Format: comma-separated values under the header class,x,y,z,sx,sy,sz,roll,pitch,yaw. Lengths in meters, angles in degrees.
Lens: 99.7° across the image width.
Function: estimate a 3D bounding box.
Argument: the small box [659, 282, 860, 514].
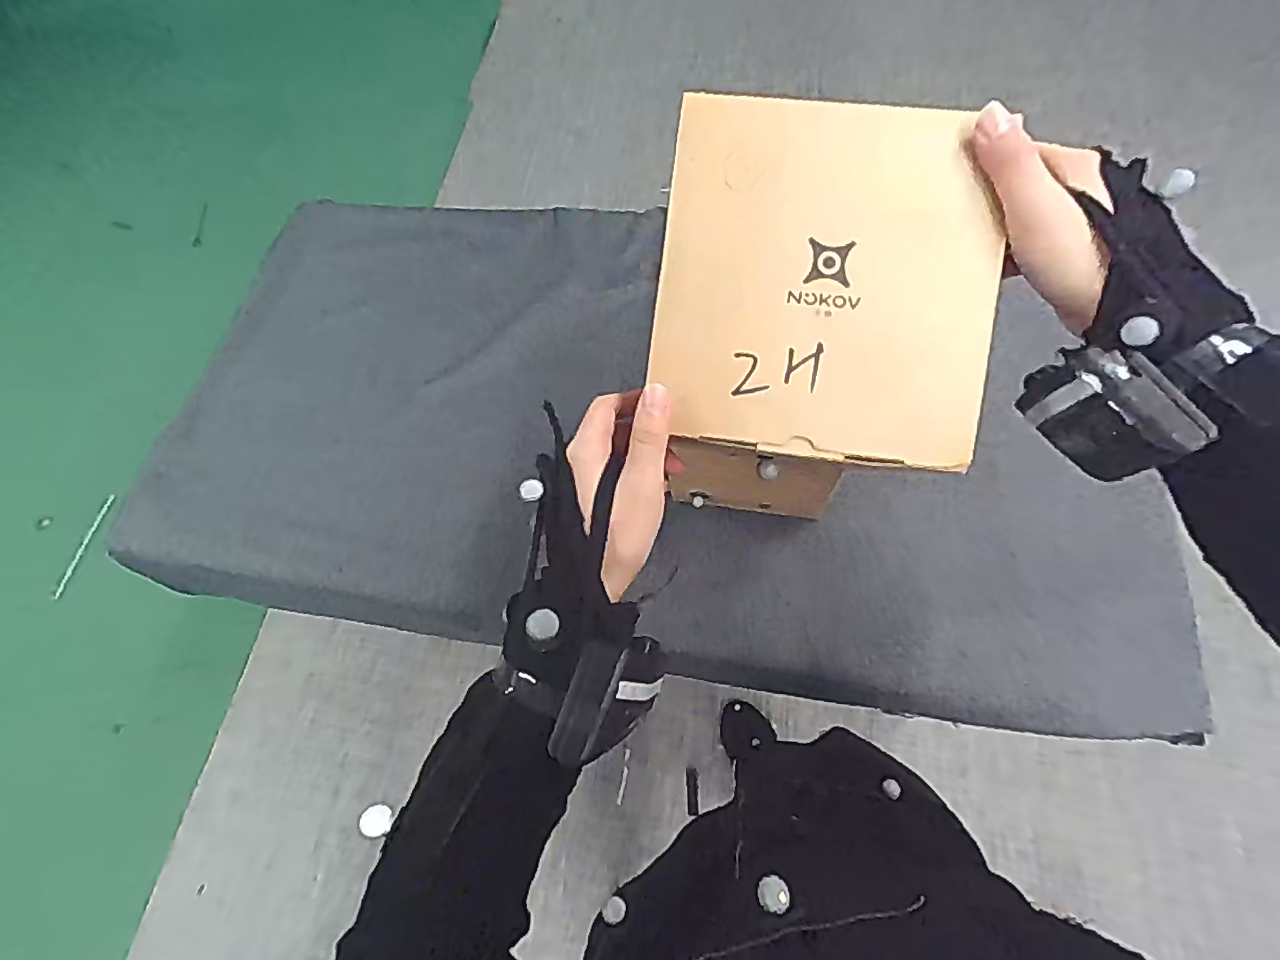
class,x,y,z,sx,sy,sz,roll,pitch,yaw
small box,0.122,-0.077,0.565,0.168,0.176,0.179,7,67,11
